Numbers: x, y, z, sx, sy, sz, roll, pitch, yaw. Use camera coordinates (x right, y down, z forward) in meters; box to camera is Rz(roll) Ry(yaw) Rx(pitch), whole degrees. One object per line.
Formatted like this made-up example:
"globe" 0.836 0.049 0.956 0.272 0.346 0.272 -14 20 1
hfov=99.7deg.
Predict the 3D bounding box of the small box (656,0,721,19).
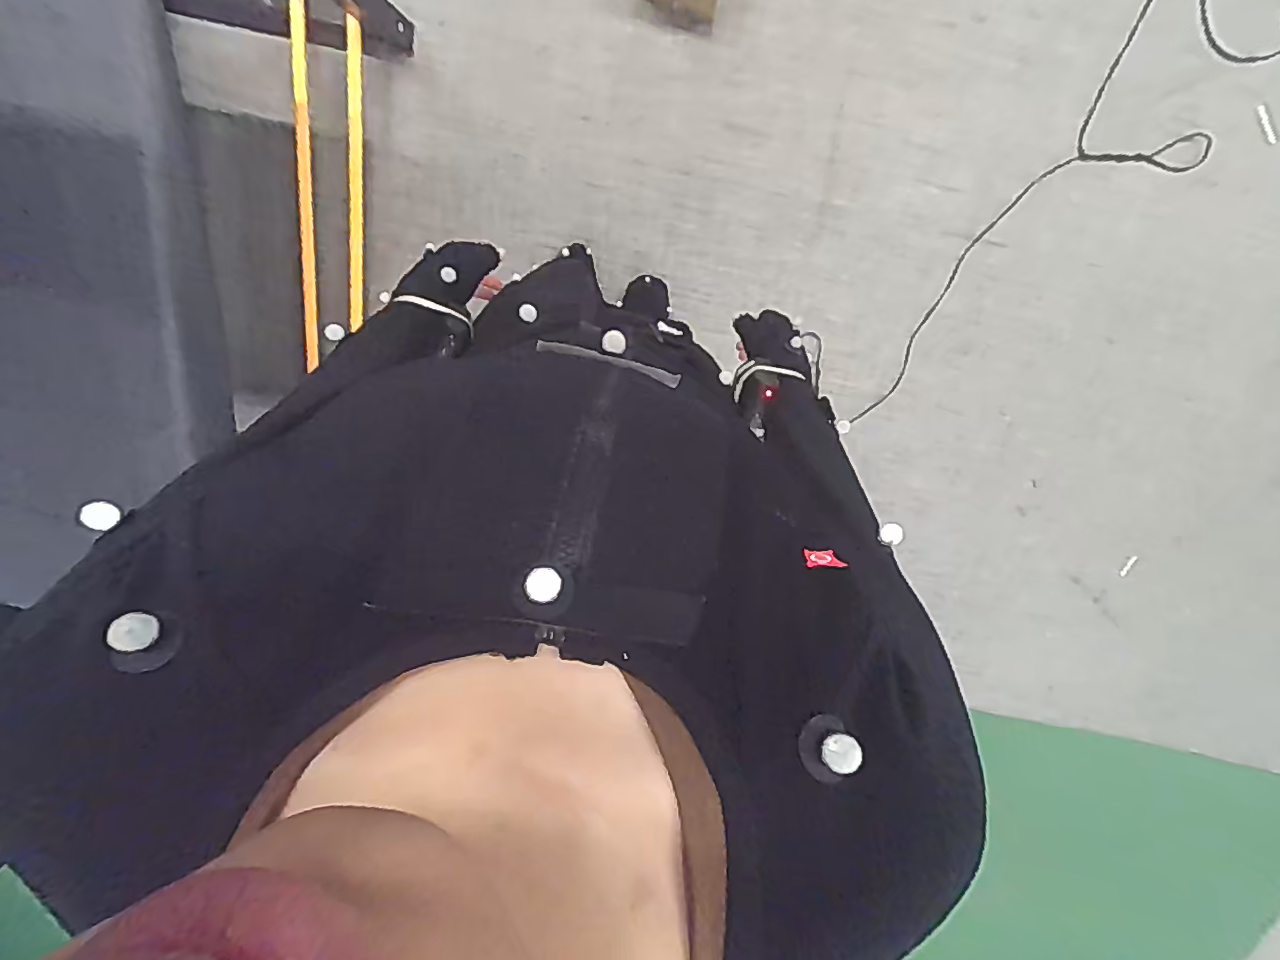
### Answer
"small box" 0.102 -1.036 1.028 0.168 0.176 0.179 17 112 -3
